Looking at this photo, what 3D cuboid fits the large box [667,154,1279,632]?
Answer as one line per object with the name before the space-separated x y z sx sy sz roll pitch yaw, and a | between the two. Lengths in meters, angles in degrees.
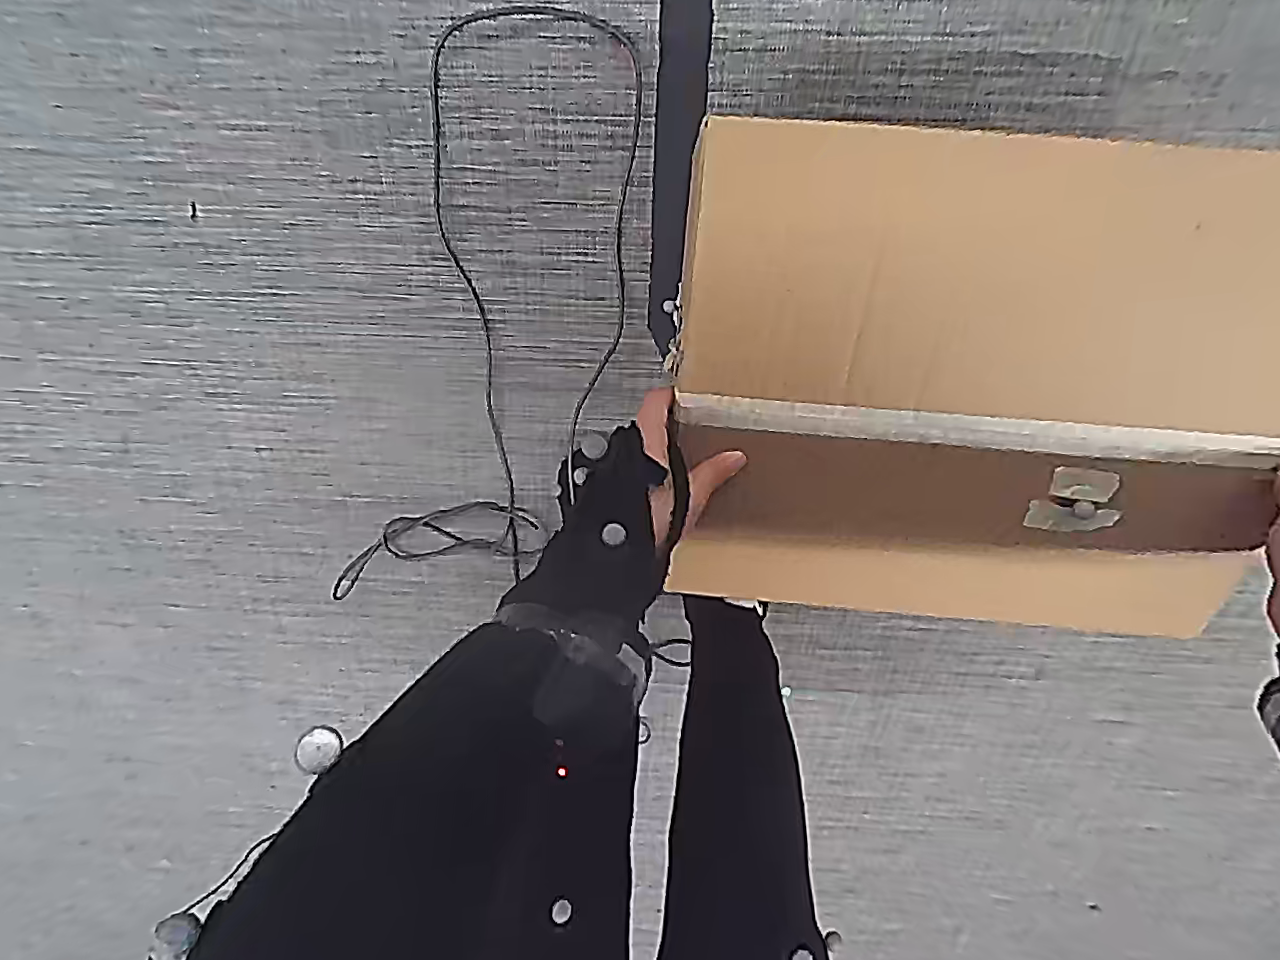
large box | 0.230 -0.095 0.486 0.408 0.320 0.320 4 119 1
